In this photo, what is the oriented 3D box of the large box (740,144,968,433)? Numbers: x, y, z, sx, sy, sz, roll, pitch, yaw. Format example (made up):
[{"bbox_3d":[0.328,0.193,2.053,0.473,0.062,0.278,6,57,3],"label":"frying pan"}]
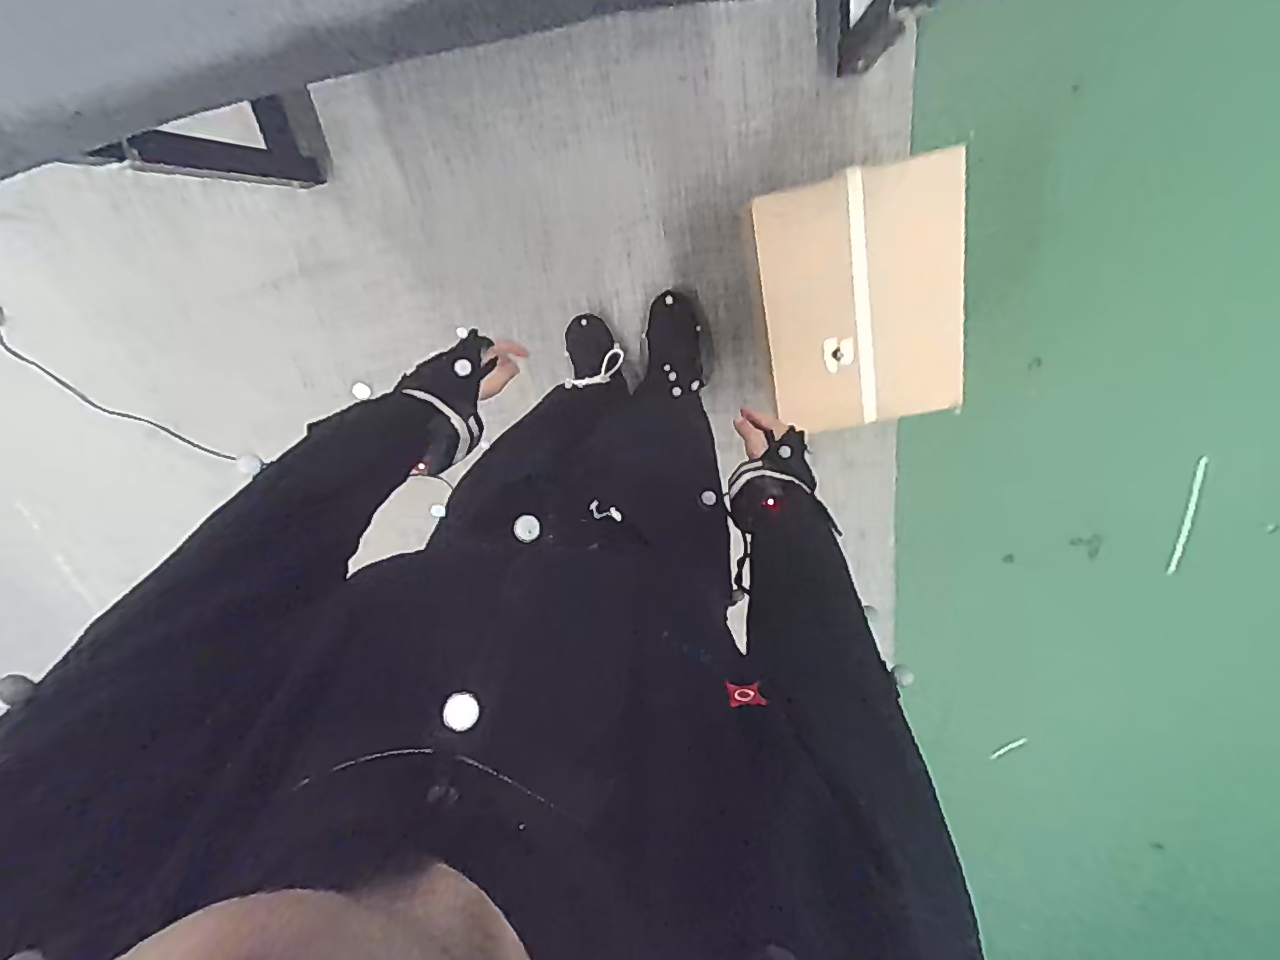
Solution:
[{"bbox_3d":[0.384,-0.351,1.020,0.320,0.320,0.408,-9,114,11],"label":"large box"}]
